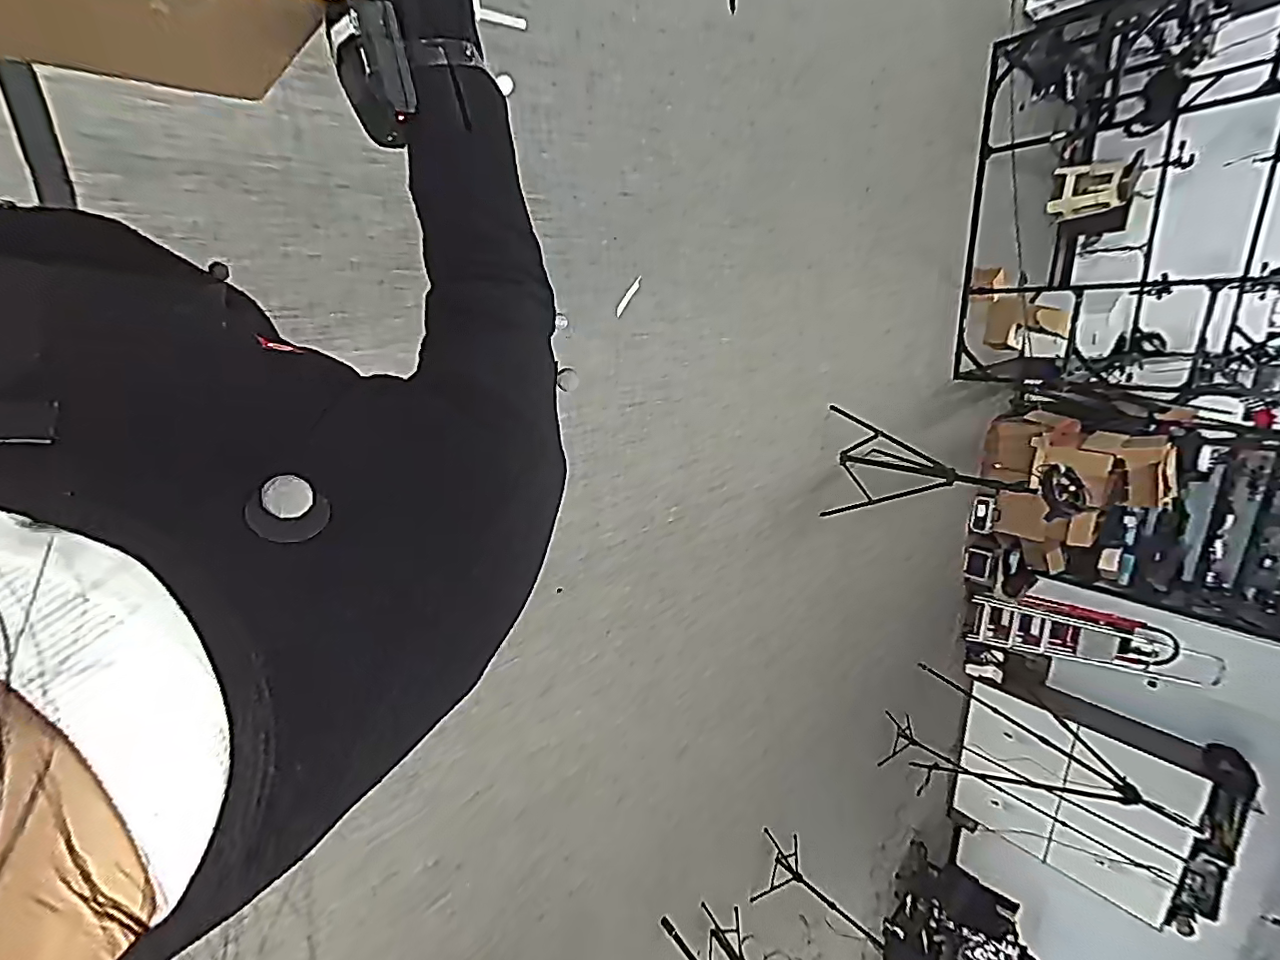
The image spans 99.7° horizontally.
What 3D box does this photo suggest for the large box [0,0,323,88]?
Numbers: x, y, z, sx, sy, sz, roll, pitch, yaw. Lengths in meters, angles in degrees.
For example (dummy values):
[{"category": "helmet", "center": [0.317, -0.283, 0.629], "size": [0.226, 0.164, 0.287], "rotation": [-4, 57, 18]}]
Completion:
[{"category": "large box", "center": [-0.424, -0.426, 0.247], "size": [0.408, 0.320, 0.320], "rotation": [-18, 120, -38]}]
